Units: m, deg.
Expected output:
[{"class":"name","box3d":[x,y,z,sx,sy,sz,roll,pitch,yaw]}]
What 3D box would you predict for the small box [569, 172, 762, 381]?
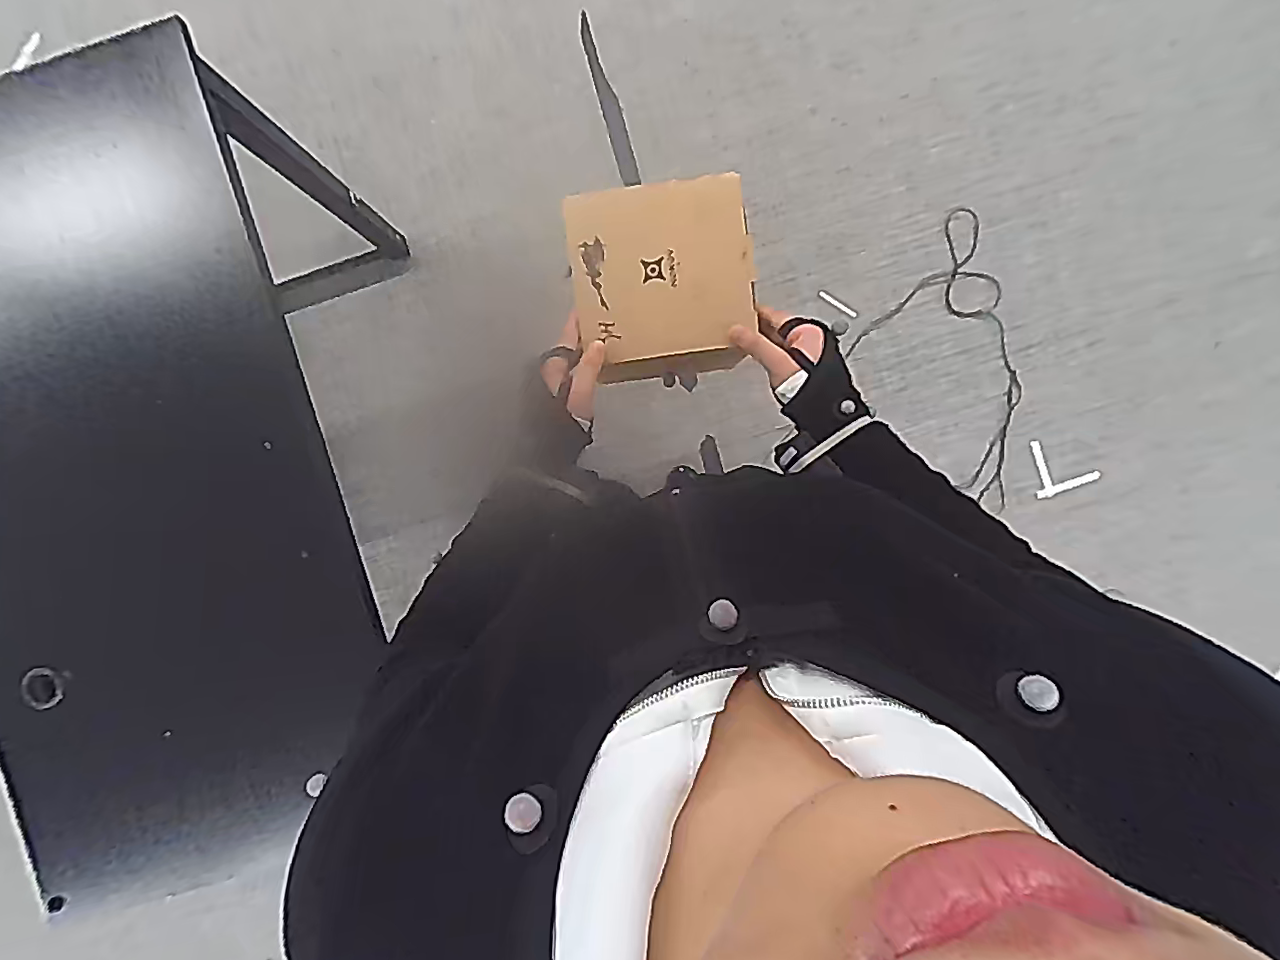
[{"class":"small box","box3d":[0.023,-0.210,0.602,0.179,0.176,0.168,-7,92,0]}]
